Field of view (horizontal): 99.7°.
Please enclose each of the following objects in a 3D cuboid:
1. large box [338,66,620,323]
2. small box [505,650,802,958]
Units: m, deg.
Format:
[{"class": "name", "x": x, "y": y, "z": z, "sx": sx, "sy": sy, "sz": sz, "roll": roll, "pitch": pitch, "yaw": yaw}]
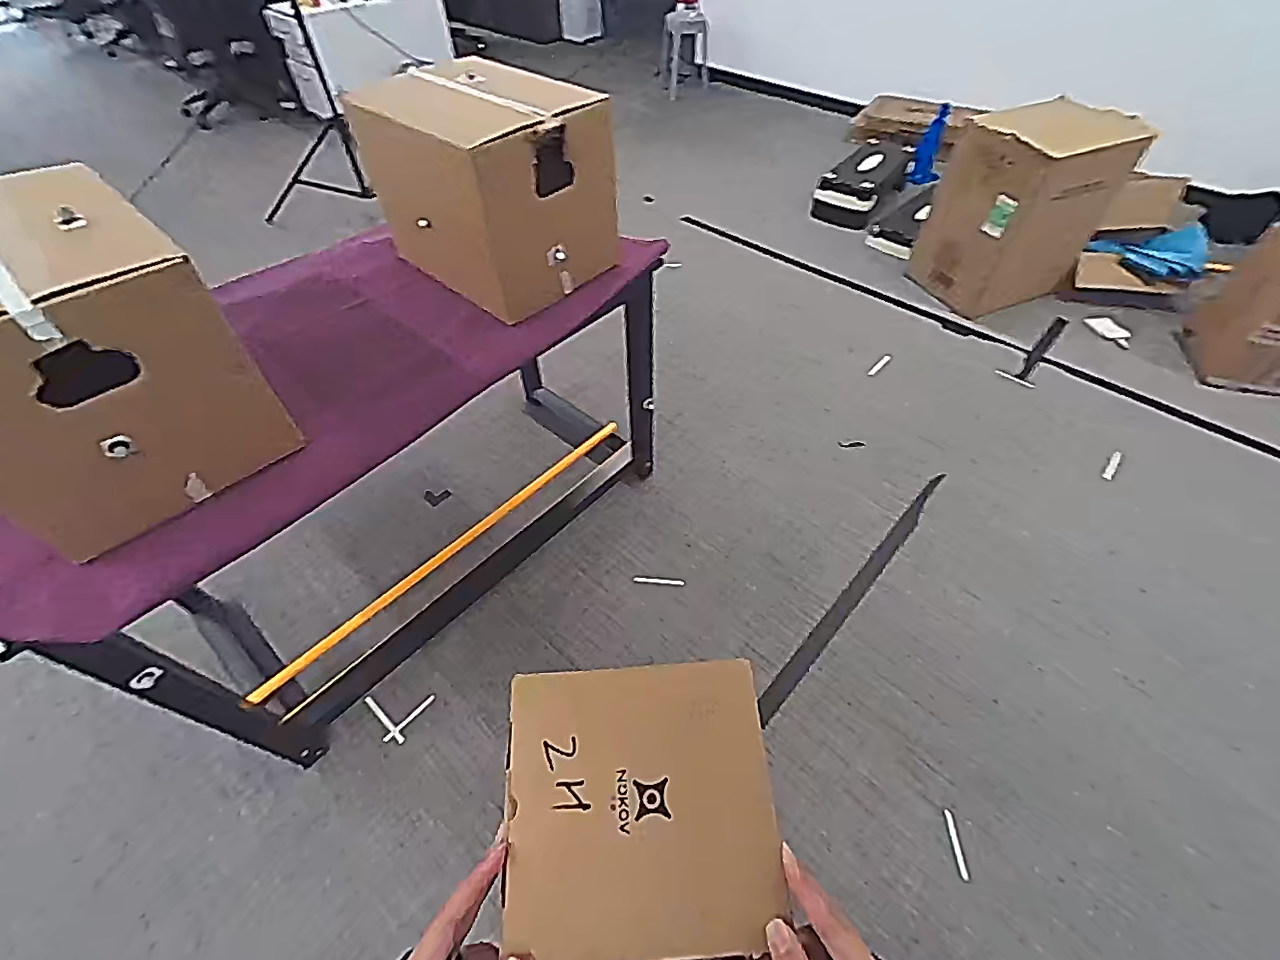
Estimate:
[{"class": "large box", "x": -0.292, "y": -0.571, "z": 1.072, "sx": 0.408, "sy": 0.320, "sz": 0.320, "roll": 34, "pitch": 58, "yaw": 26}, {"class": "small box", "x": 0.004, "y": 0.236, "z": 0.419, "sx": 0.179, "sy": 0.176, "sz": 0.168, "roll": -4, "pitch": 60, "yaw": -1}]
